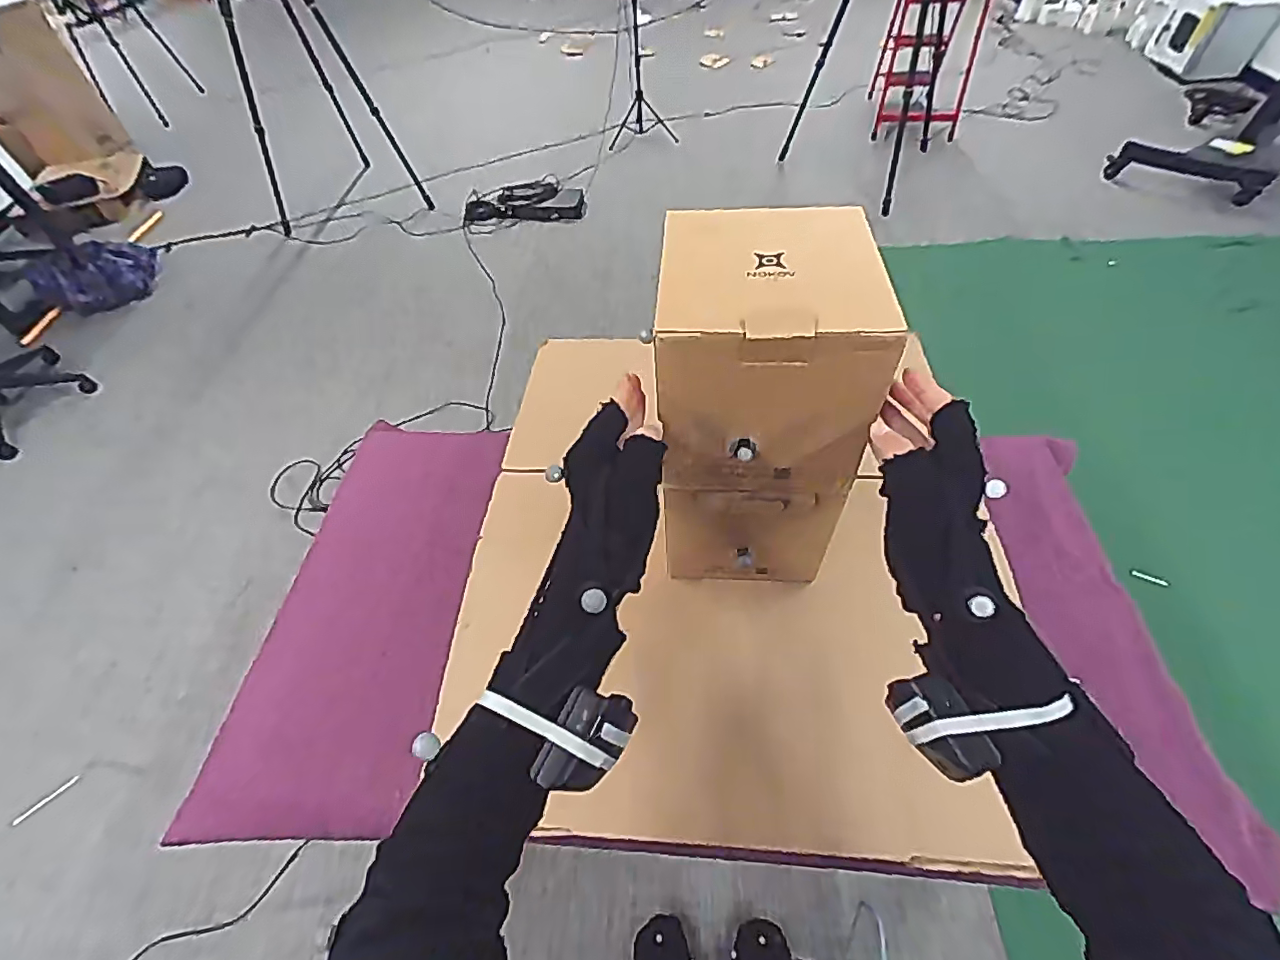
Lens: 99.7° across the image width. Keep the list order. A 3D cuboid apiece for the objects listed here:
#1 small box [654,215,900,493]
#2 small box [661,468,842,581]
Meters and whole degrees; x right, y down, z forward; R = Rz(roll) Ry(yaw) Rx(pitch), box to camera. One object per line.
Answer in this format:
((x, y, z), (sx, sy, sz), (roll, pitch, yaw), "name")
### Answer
((0.100, -0.110, 0.475), (0.168, 0.176, 0.179), (1, 52, 5), "small box")
((0.111, -0.007, 0.602), (0.168, 0.176, 0.179), (1, 51, 6), "small box")
